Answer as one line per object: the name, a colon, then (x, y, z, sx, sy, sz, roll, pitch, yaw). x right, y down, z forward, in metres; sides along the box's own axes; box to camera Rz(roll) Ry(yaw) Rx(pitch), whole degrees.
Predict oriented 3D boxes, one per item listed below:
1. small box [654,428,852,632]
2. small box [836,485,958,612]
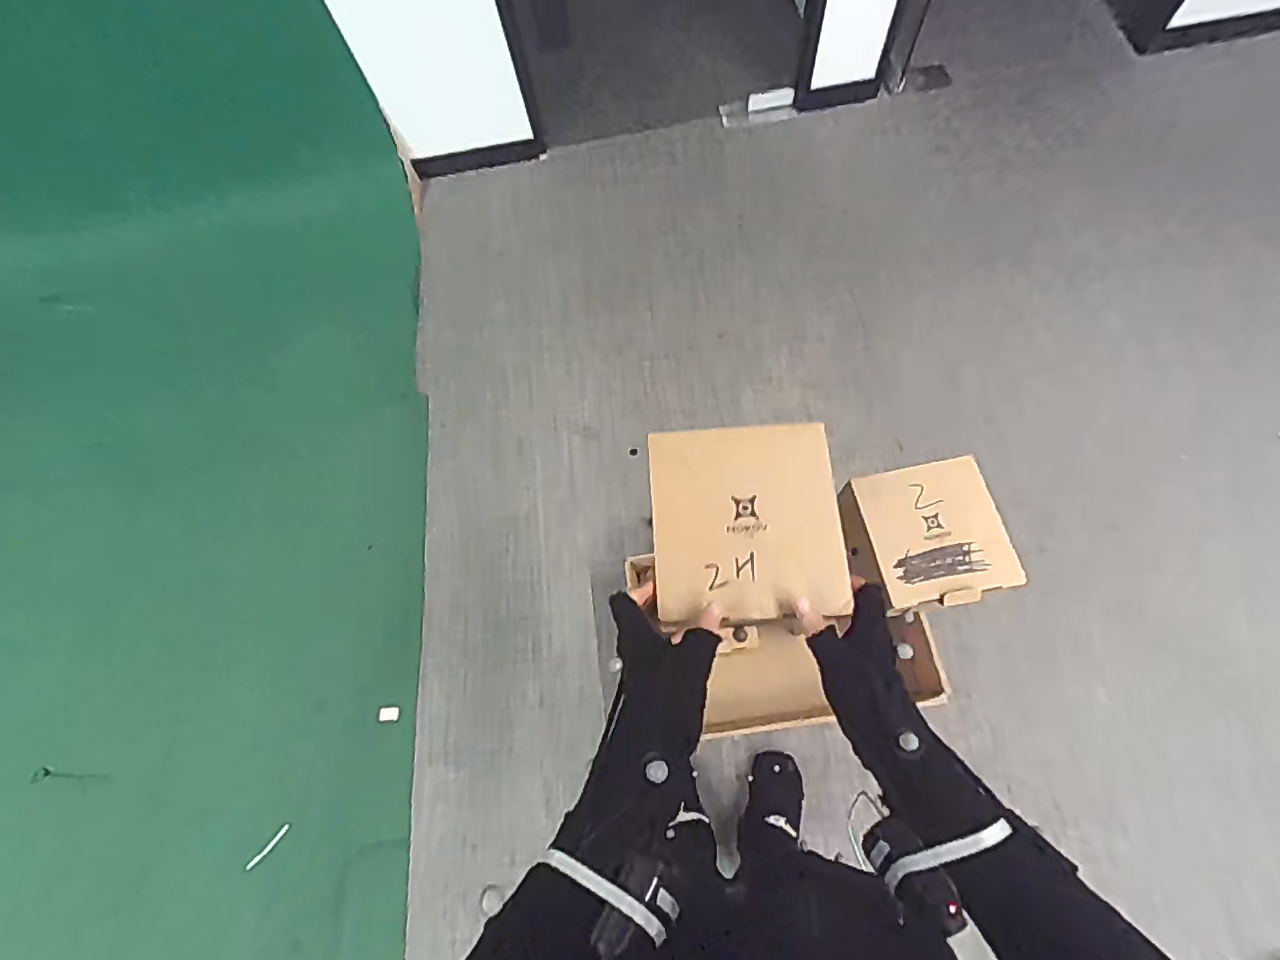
small box: (0.099, 0.061, 0.559, 0.168, 0.176, 0.179, -3, 72, 2)
small box: (0.396, 0.126, 0.917, 0.168, 0.176, 0.179, -9, 69, 2)
